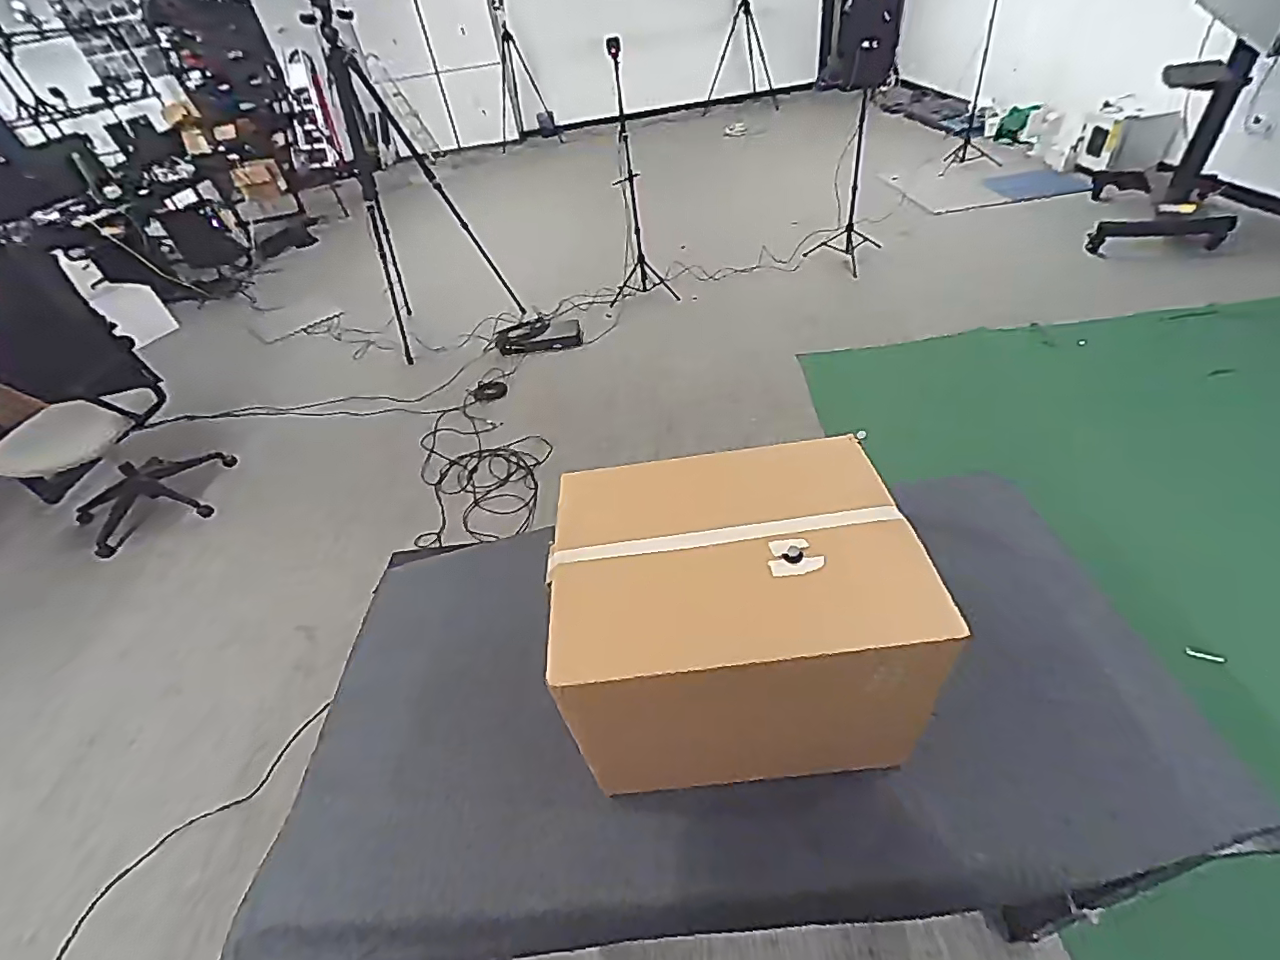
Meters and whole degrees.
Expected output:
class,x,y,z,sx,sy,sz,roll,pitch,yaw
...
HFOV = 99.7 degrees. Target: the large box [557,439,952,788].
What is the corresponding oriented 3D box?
class,x,y,z,sx,sy,sz,roll,pitch,yaw
large box,0.117,0.182,0.739,0.408,0.320,0.320,-8,43,2
